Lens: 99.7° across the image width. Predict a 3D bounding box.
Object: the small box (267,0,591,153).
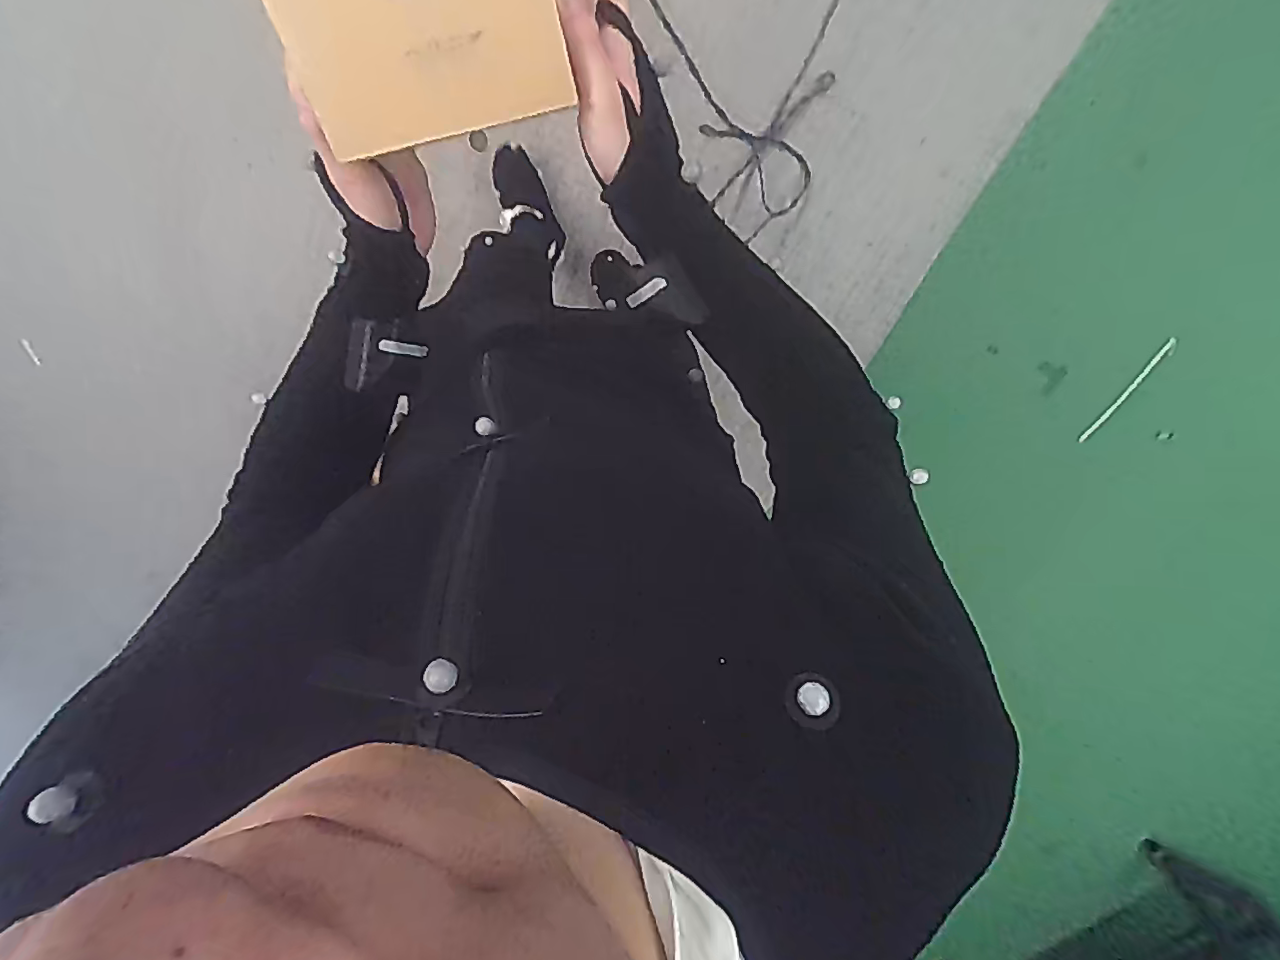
[{"bbox_3d":[-0.134,-0.340,0.357,0.168,0.176,0.179,-8,127,7],"label":"small box"}]
